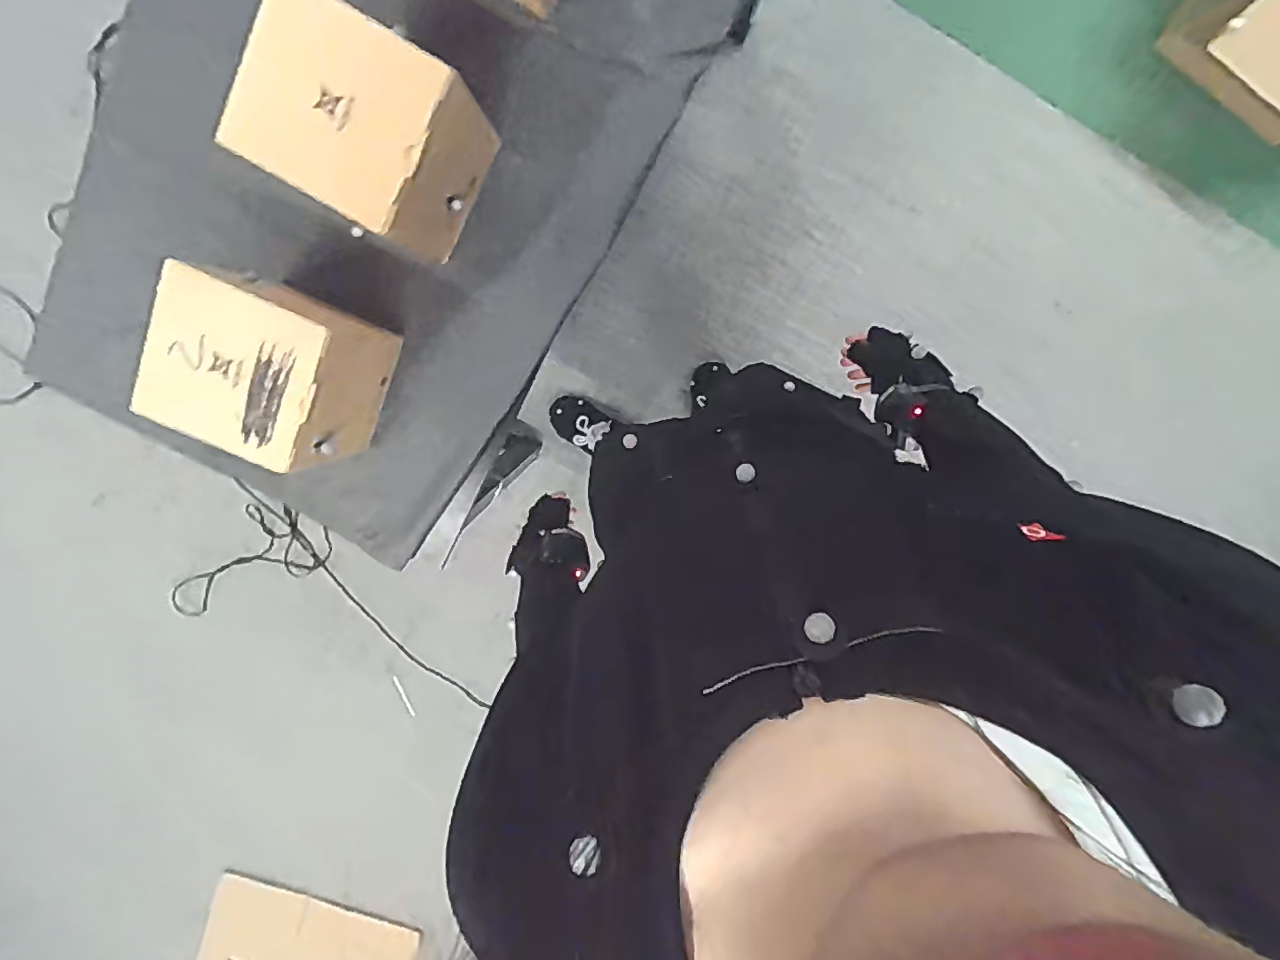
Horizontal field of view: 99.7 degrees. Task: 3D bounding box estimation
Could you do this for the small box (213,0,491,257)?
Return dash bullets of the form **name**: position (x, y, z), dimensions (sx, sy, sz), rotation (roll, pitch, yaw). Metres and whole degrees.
- **small box**: position (-0.289, -0.364, 0.581), dimensions (0.179, 0.176, 0.168), rotation (28, 101, -7)
